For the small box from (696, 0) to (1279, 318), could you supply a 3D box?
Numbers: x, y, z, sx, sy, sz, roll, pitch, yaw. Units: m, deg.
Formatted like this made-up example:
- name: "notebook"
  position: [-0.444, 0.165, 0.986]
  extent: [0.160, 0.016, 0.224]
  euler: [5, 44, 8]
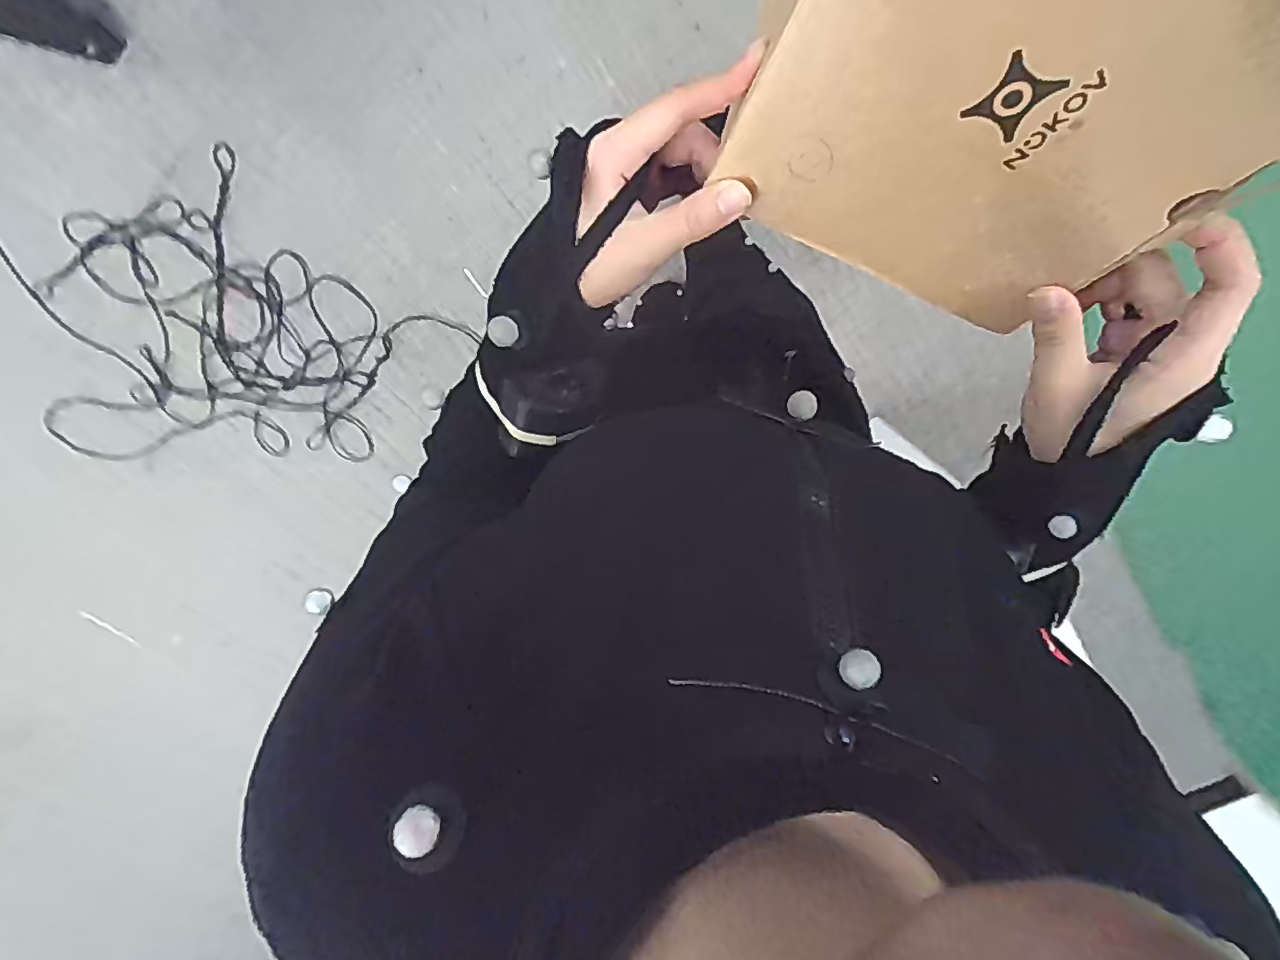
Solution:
- name: "small box"
  position: [0.144, -0.207, 0.219]
  extent: [0.179, 0.176, 0.168]
  euler: [18, 153, -11]
